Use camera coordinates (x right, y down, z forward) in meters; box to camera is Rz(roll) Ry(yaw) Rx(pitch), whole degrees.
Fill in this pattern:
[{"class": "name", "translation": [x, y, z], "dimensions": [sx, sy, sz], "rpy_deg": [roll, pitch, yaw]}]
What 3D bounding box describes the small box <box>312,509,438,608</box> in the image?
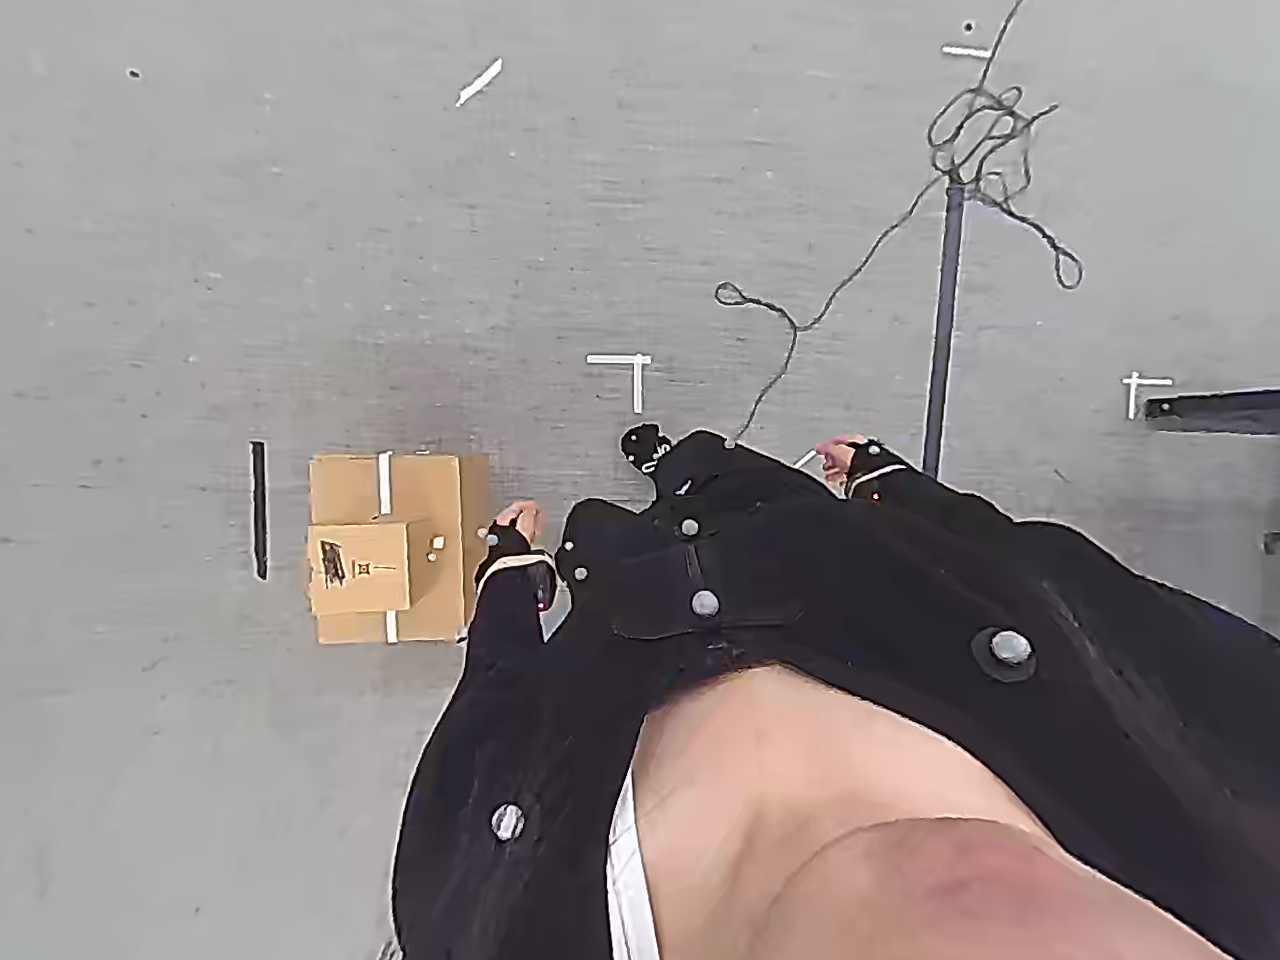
[{"class": "small box", "translation": [-0.515, 0.149, 1.072], "dimensions": [0.179, 0.176, 0.168], "rpy_deg": [-1, 94, -6]}]
